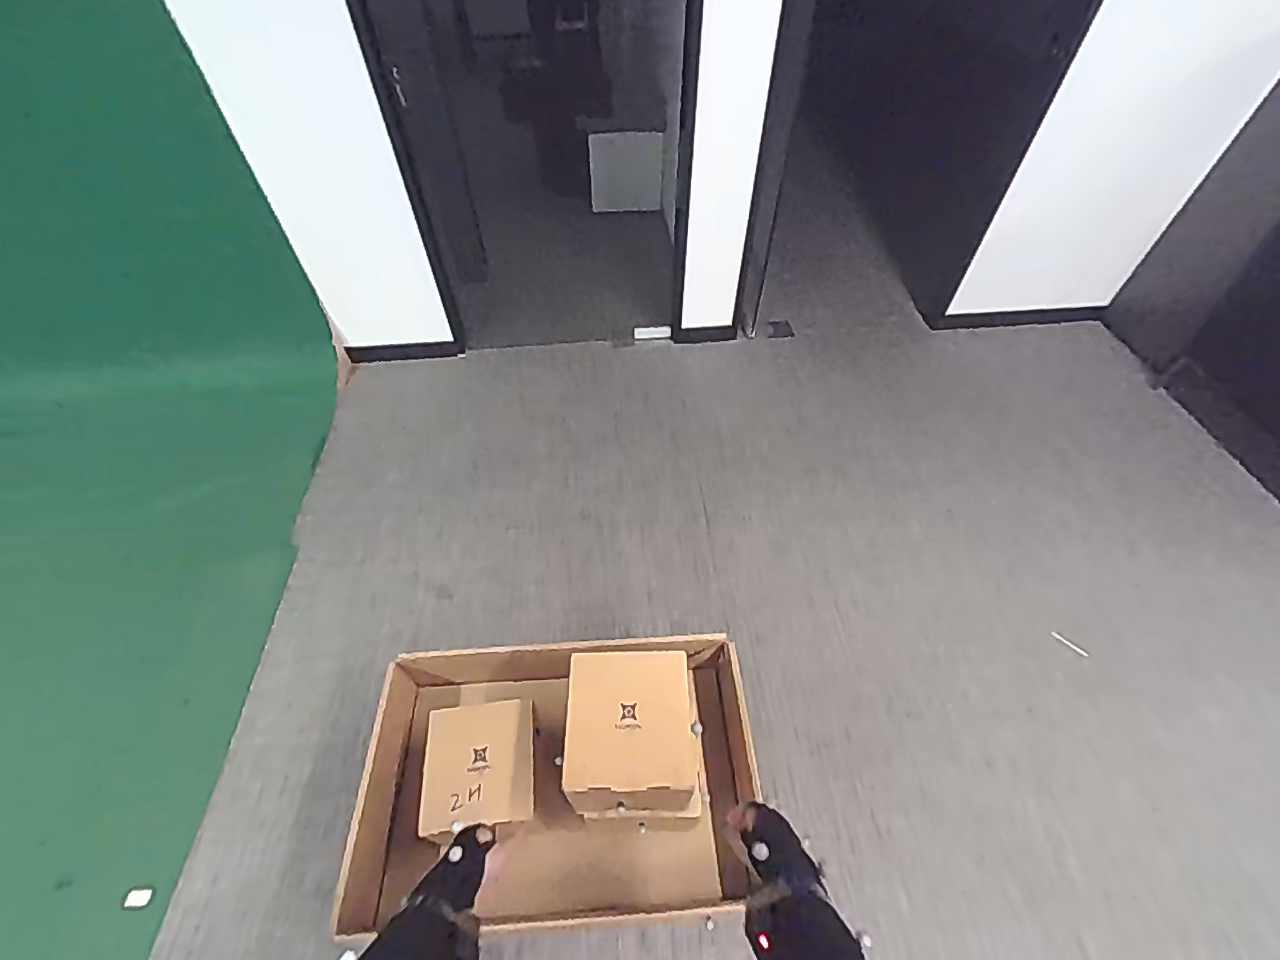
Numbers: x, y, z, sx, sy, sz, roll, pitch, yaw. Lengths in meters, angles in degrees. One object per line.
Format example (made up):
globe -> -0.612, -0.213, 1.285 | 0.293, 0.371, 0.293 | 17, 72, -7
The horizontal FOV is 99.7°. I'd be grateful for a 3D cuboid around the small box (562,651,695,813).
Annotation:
small box -> -0.015, 0.362, 0.775 | 0.168, 0.176, 0.179 | -1, 50, 0
